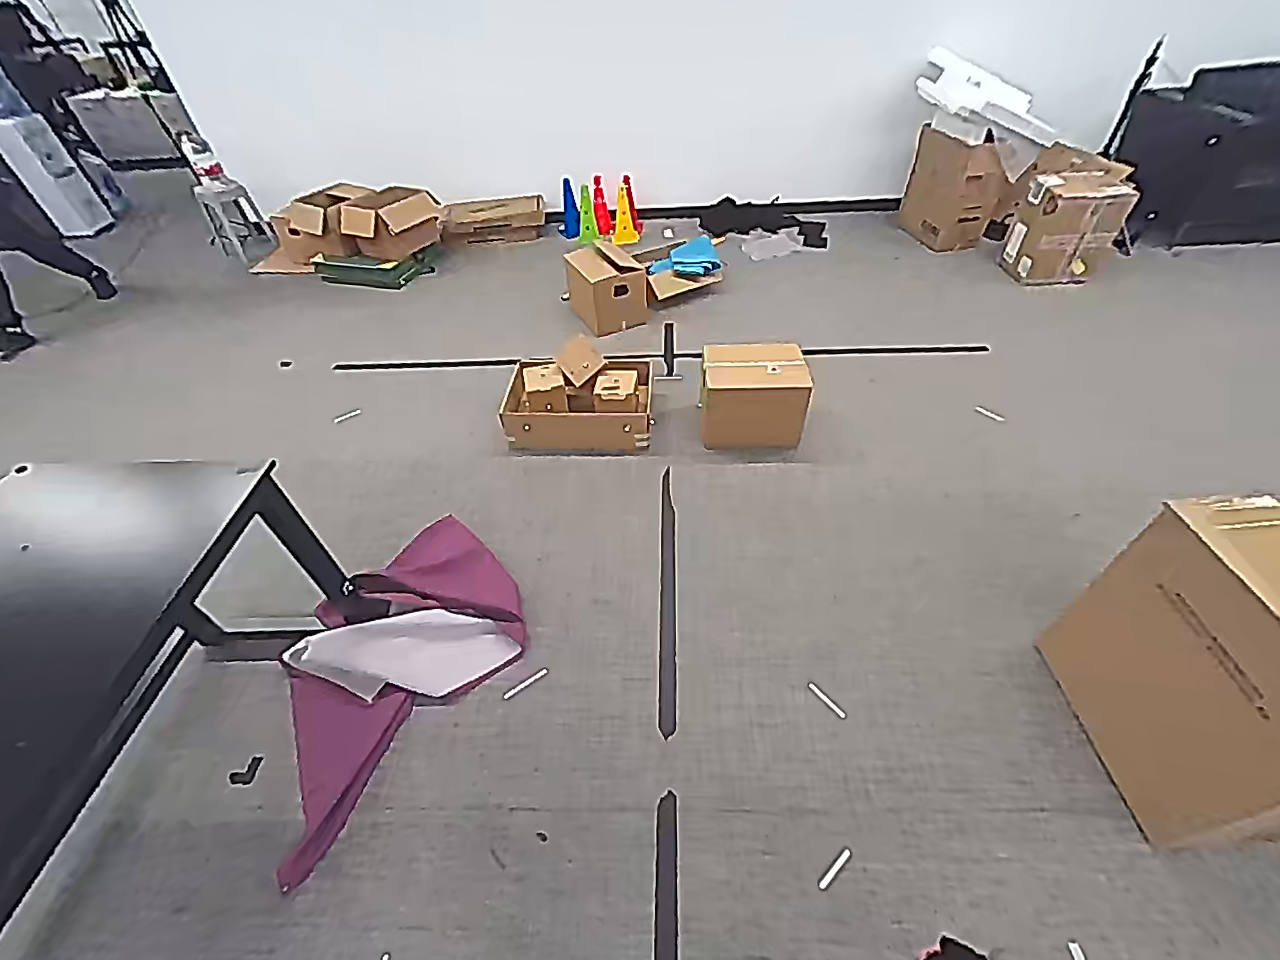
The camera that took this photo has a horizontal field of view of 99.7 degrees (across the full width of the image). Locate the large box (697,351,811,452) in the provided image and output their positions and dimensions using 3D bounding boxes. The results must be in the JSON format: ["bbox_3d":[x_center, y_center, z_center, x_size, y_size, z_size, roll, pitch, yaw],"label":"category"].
[{"bbox_3d":[0.458,-0.329,2.276,0.408,0.320,0.320,0,45,1],"label":"large box"}]
